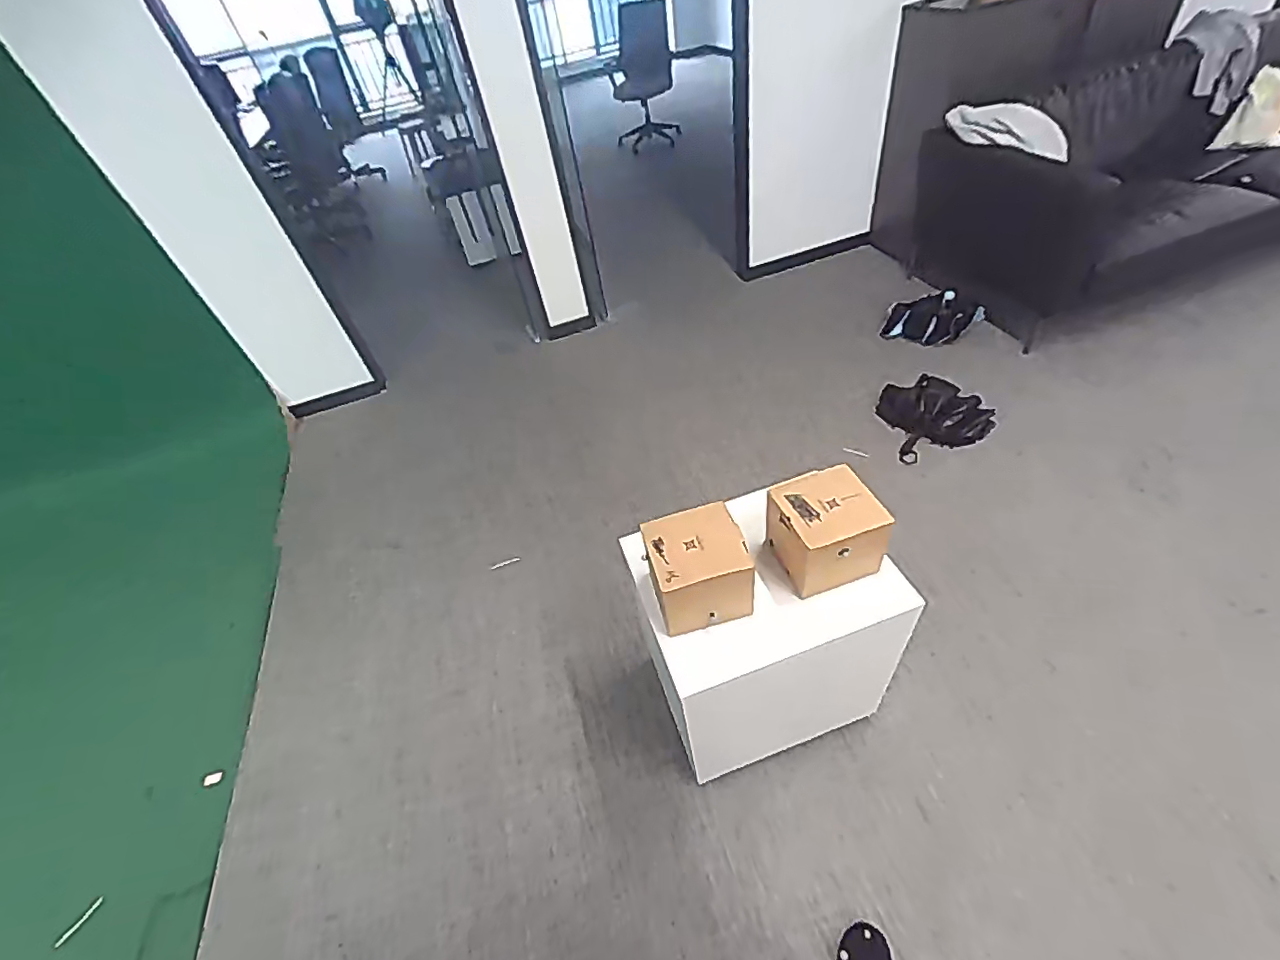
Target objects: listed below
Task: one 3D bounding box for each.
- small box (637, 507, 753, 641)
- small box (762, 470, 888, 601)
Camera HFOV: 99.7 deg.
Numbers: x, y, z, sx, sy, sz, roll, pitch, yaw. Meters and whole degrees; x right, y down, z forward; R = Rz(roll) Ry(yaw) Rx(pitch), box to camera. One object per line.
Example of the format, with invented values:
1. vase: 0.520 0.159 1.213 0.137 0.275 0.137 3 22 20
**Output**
1. small box: 0.100 0.182 1.042 0.179 0.176 0.168 -13 44 -7
2. small box: 0.355 0.113 1.075 0.179 0.176 0.168 -17 46 -9
